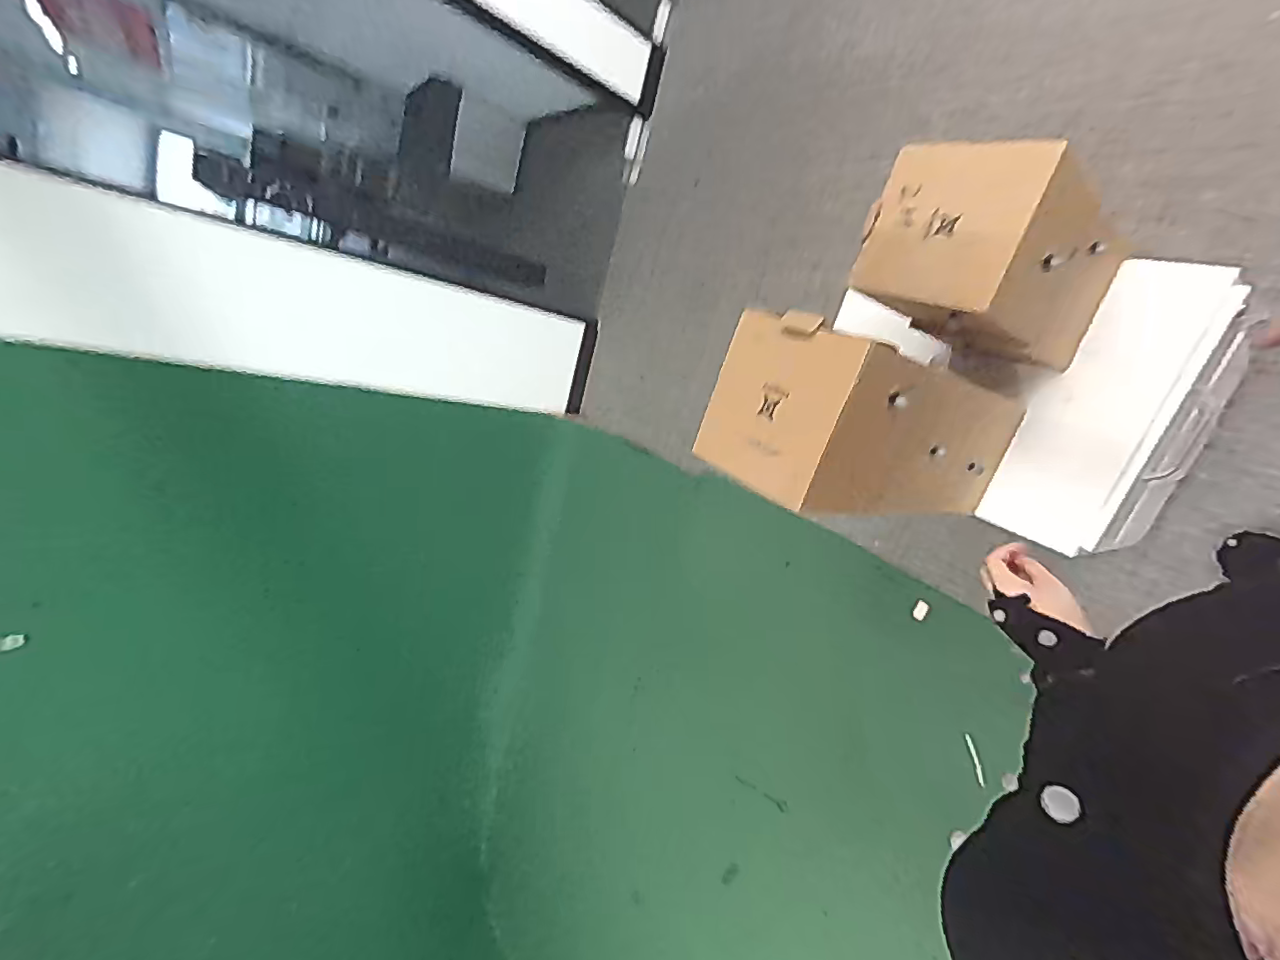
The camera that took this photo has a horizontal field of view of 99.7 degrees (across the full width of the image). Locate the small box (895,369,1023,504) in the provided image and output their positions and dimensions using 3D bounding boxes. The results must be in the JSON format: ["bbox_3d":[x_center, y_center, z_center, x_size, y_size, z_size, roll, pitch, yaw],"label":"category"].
[{"bbox_3d":[0.450,-0.072,0.834,0.168,0.176,0.179,33,111,46],"label":"small box"}]

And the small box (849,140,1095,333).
[{"bbox_3d":[0.398,-0.285,0.652,0.179,0.176,0.168,35,115,46],"label":"small box"}]

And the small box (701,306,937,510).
[{"bbox_3d":[0.205,-0.078,0.616,0.168,0.176,0.179,35,114,47],"label":"small box"}]
